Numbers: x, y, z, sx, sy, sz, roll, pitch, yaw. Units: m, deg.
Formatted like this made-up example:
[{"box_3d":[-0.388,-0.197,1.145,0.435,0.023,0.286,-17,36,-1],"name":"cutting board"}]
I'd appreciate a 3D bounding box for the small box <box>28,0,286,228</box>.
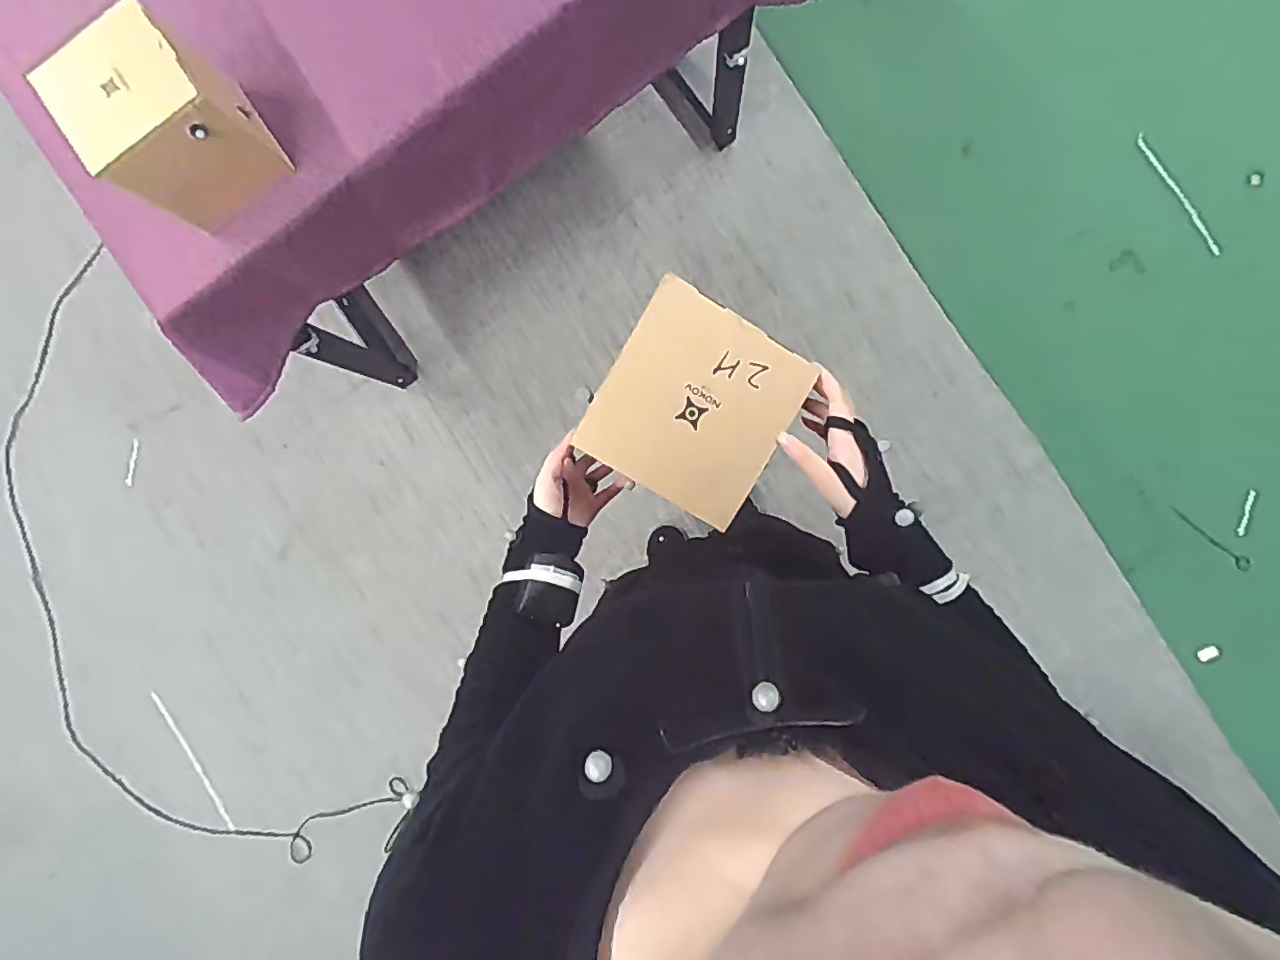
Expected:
[{"box_3d":[-0.651,-0.493,0.751,0.179,0.176,0.168,-35,87,2],"name":"small box"}]
